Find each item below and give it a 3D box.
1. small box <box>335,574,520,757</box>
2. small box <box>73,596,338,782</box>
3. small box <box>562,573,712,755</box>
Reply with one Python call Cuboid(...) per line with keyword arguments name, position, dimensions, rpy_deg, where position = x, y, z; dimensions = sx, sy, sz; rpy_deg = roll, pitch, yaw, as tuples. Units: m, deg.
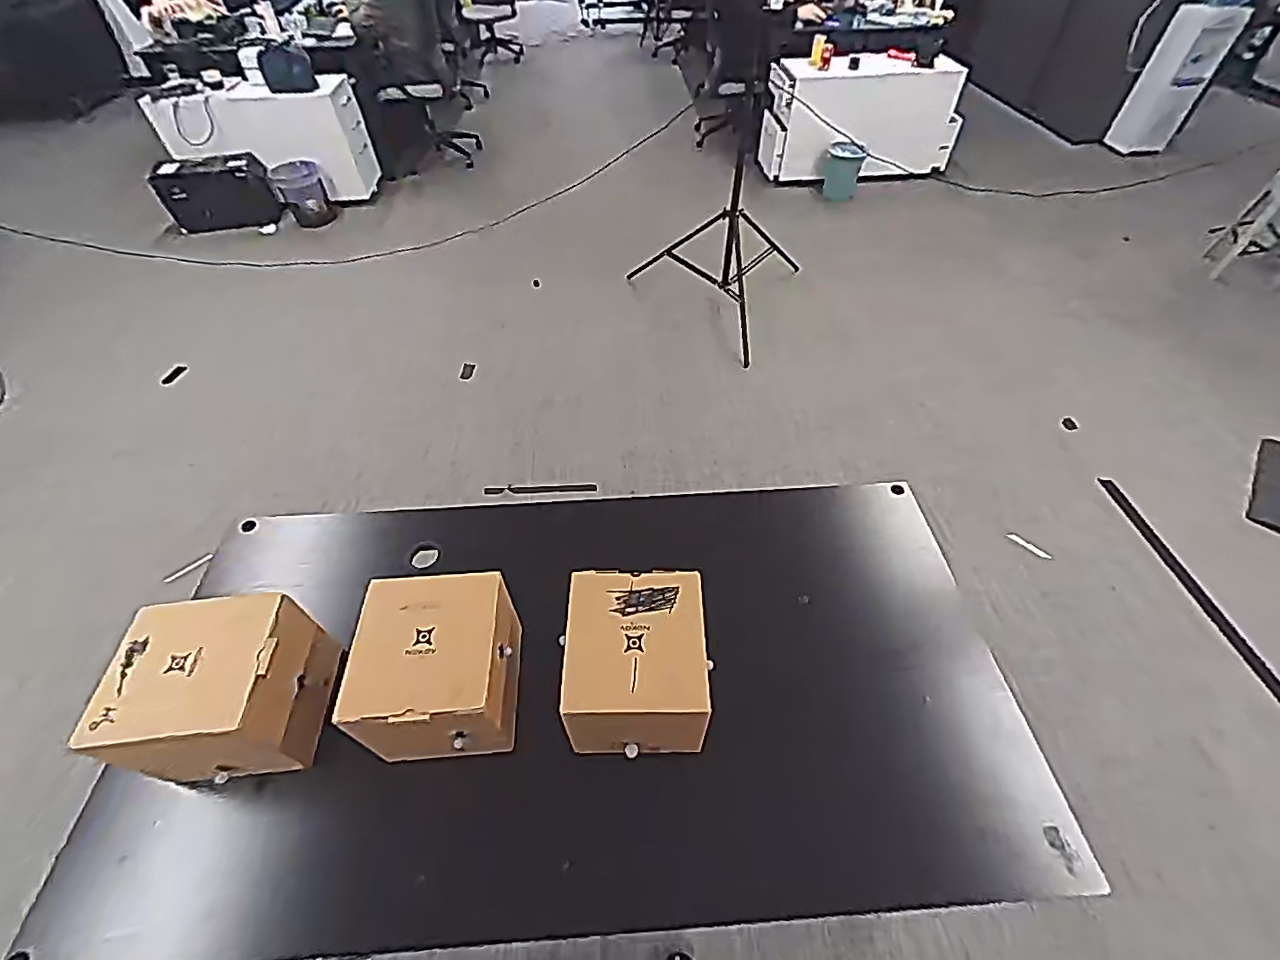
Cuboid(name="small box", position=(-0.253, 0.243, 0.697), dimensions=(0.168, 0.176, 0.179), rpy_deg=(-4, 49, -3))
Cuboid(name="small box", position=(-0.513, 0.264, 0.679), dimensions=(0.179, 0.176, 0.168), rpy_deg=(-4, 49, -5))
Cuboid(name="small box", position=(-0.003, 0.238, 0.697), dimensions=(0.168, 0.176, 0.179), rpy_deg=(0, 50, 0))
